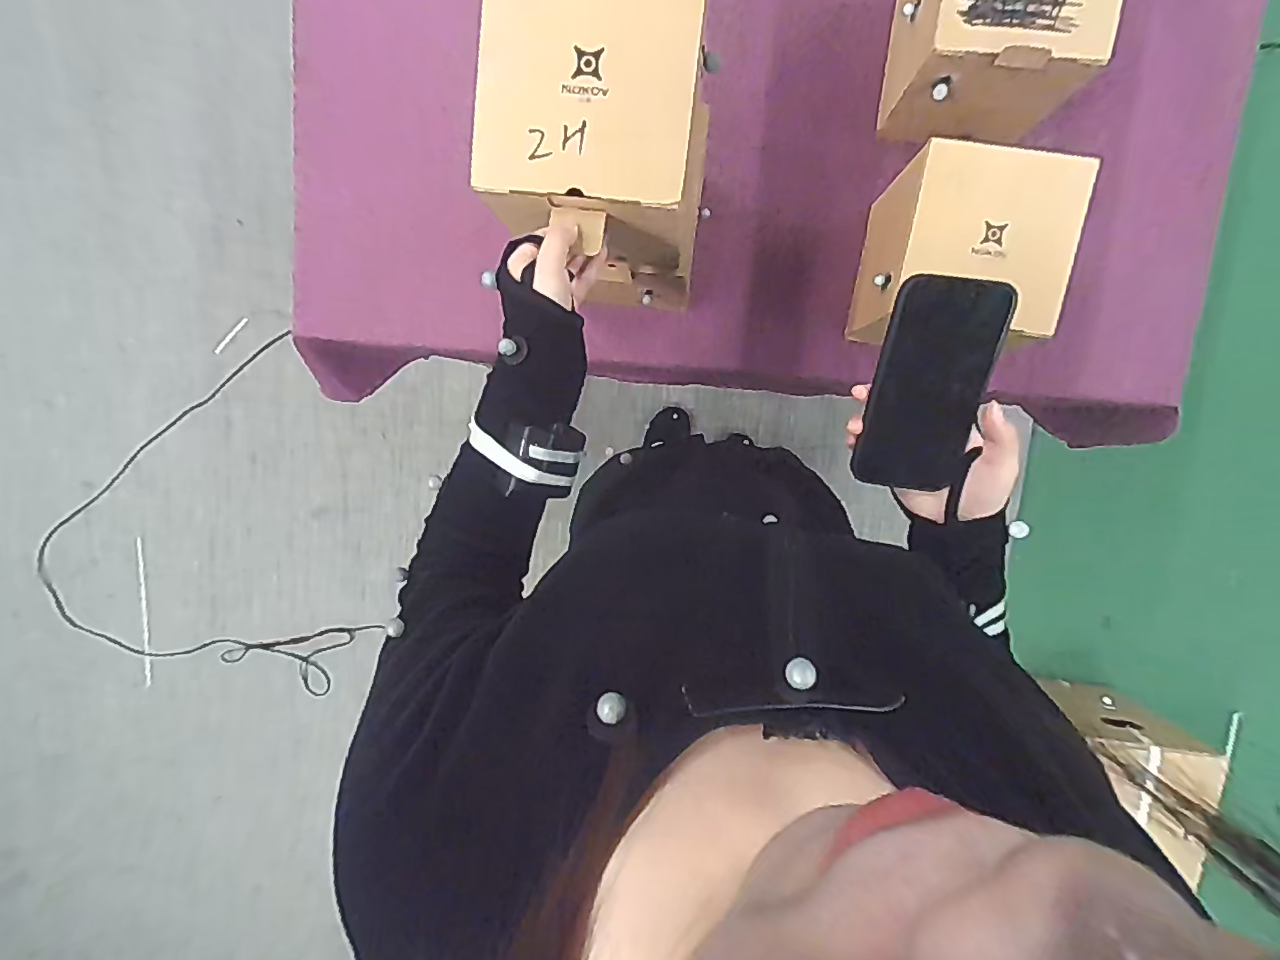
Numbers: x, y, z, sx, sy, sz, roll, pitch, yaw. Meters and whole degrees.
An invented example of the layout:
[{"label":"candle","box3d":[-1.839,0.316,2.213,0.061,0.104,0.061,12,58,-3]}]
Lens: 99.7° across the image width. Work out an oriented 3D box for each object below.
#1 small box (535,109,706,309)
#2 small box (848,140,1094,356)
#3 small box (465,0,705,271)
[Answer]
[{"label":"small box","box3d":[-0.016,-0.314,0.647,0.168,0.176,0.179,8,97,3]},{"label":"small box","box3d":[0.358,-0.250,0.623,0.168,0.176,0.179,10,98,4]},{"label":"small box","box3d":[-0.038,-0.307,0.483,0.168,0.176,0.179,8,97,4]}]
